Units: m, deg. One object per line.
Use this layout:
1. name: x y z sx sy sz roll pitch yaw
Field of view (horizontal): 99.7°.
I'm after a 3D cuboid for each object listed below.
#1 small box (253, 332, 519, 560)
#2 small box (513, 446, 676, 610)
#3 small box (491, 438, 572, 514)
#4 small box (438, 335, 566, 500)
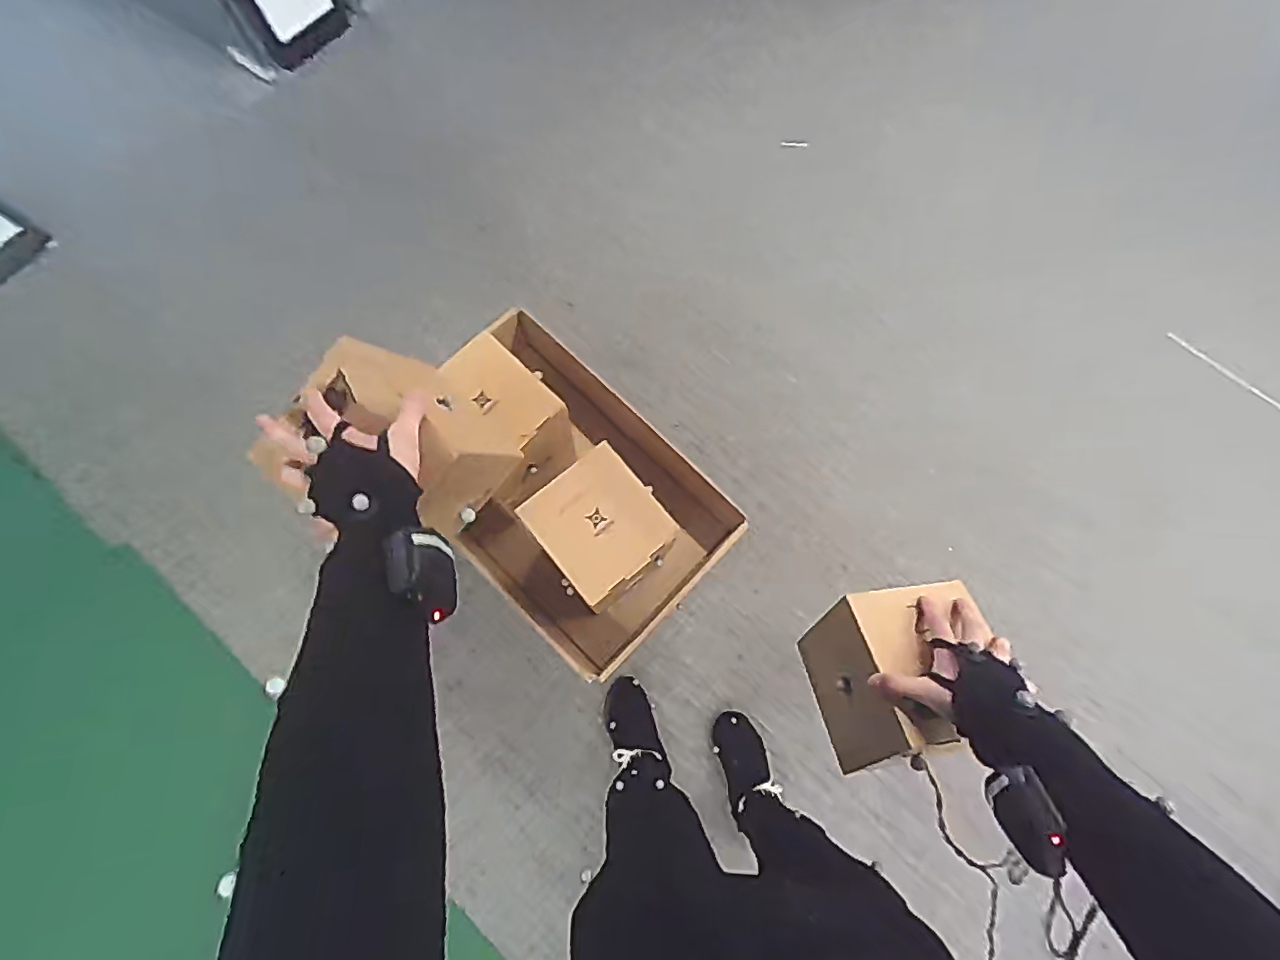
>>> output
1. small box: -0.274 -0.034 0.621 0.179 0.176 0.168 43 97 5
2. small box: -0.066 0.081 0.834 0.168 0.176 0.179 -38 79 -12
3. small box: -0.248 -0.053 1.033 0.179 0.176 0.168 44 78 7
4. small box: -0.239 -0.090 0.875 0.179 0.176 0.168 44 77 7
